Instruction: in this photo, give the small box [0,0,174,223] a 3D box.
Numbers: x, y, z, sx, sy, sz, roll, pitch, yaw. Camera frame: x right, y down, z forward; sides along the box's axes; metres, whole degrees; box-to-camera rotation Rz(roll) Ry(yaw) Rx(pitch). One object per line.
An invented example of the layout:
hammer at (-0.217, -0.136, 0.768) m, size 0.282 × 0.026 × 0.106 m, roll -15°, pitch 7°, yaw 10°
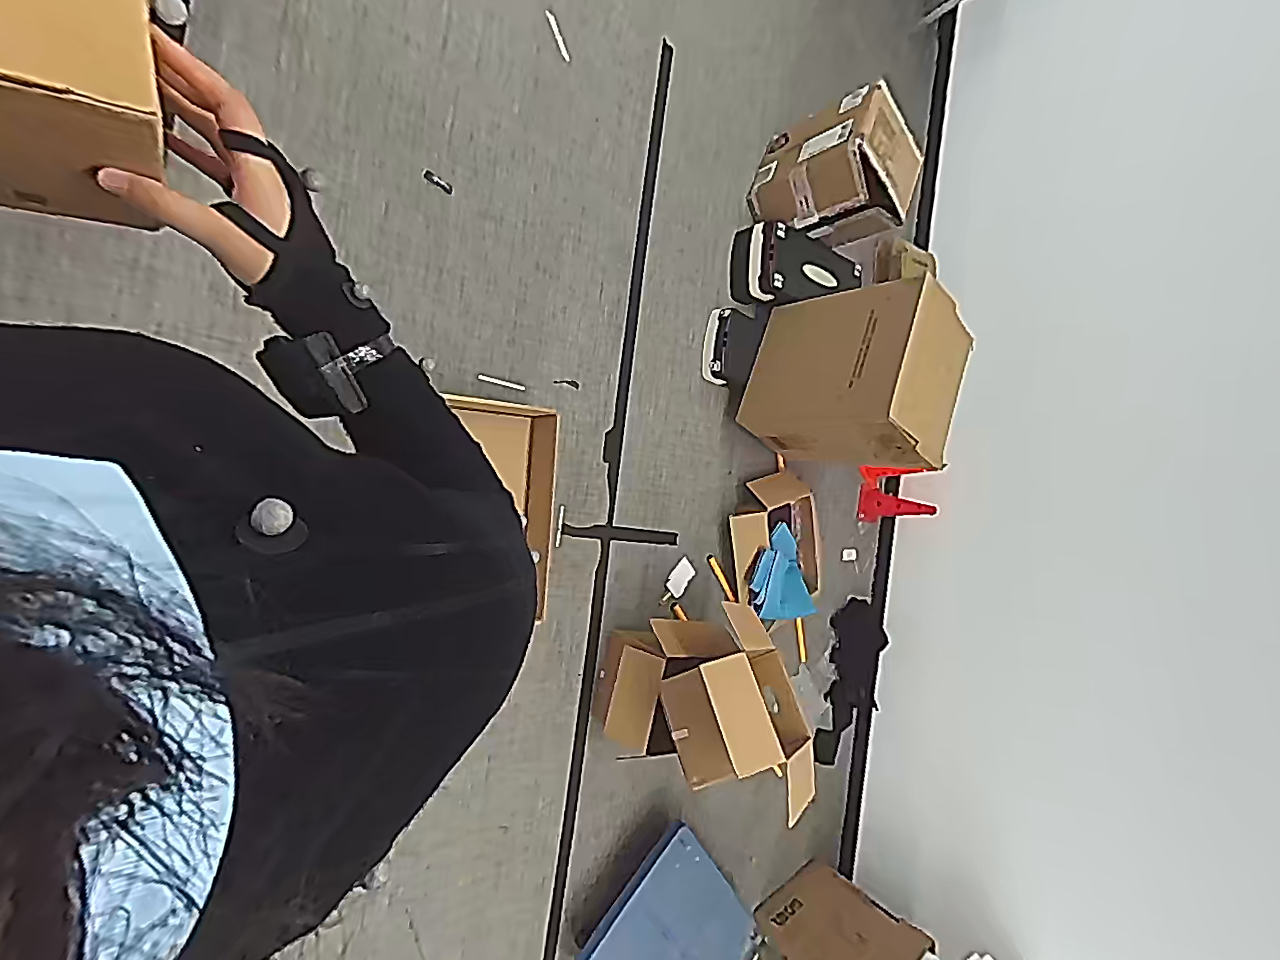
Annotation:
small box at (-0.349, -0.257, 0.265) m, size 0.168 × 0.176 × 0.179 m, roll -7°, pitch 97°, yaw -41°
